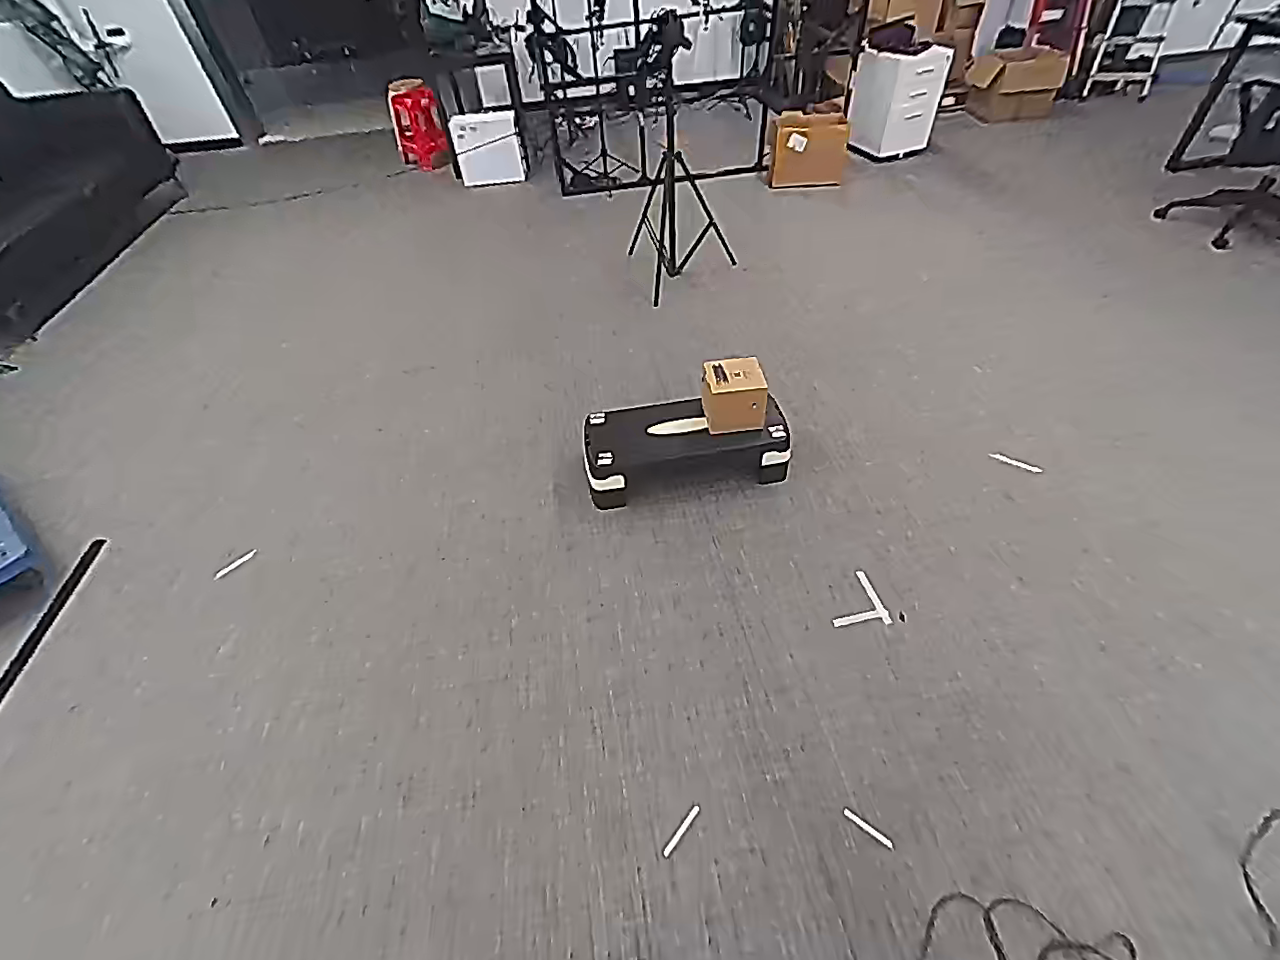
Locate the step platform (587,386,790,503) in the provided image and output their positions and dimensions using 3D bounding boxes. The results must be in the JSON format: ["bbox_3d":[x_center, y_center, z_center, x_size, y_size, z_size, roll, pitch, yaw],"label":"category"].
[{"bbox_3d":[0.161,-0.131,1.869,0.684,0.204,0.286,-10,46,-3],"label":"step platform"}]
